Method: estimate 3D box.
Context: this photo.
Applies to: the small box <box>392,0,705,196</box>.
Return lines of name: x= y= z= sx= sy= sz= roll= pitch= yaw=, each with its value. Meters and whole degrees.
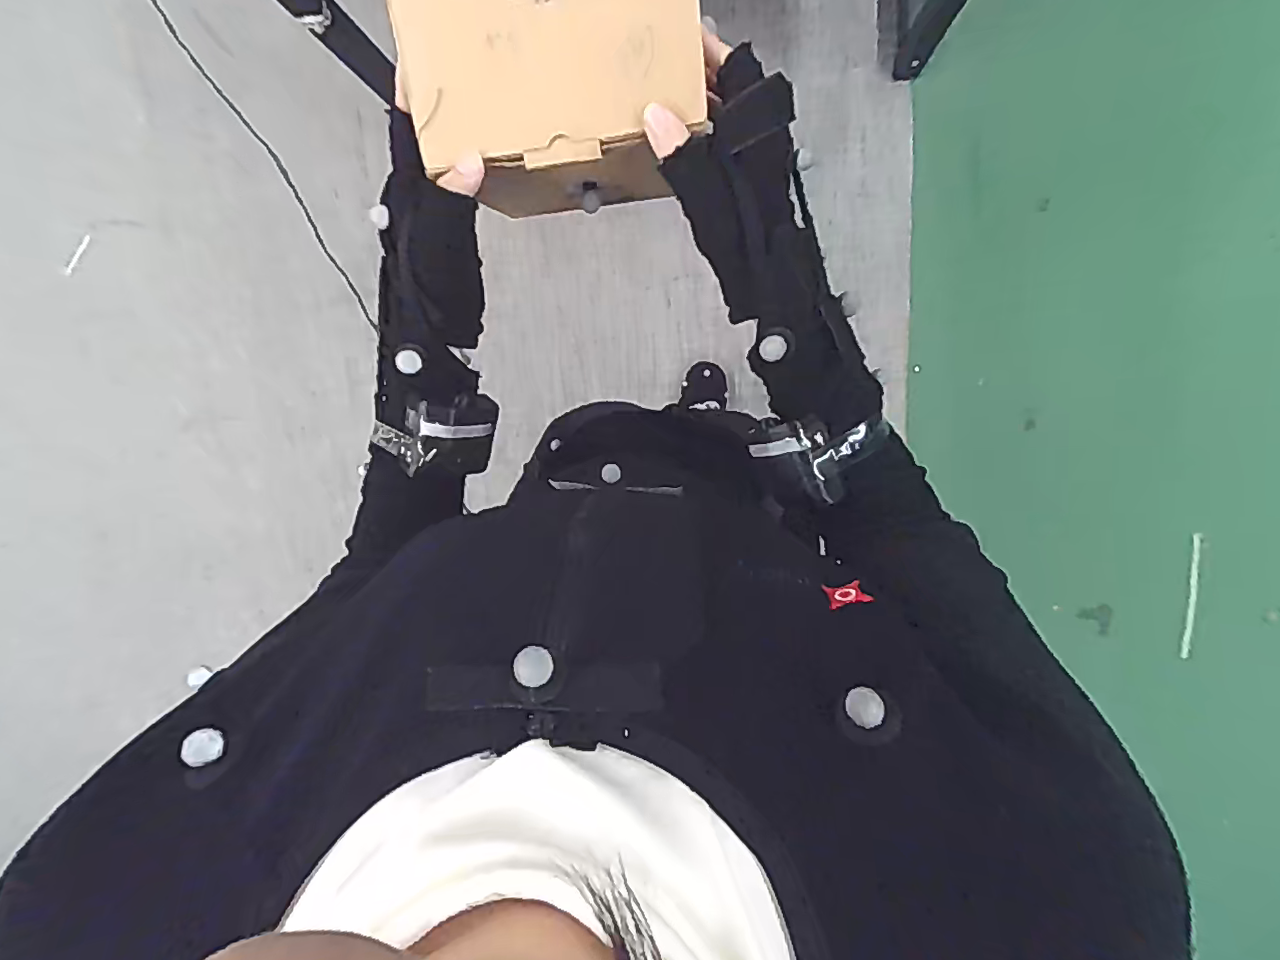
small box: x=-0.045 y=-0.296 z=0.351 sx=0.168 sy=0.176 sz=0.179 roll=-5 pitch=108 yaw=7
